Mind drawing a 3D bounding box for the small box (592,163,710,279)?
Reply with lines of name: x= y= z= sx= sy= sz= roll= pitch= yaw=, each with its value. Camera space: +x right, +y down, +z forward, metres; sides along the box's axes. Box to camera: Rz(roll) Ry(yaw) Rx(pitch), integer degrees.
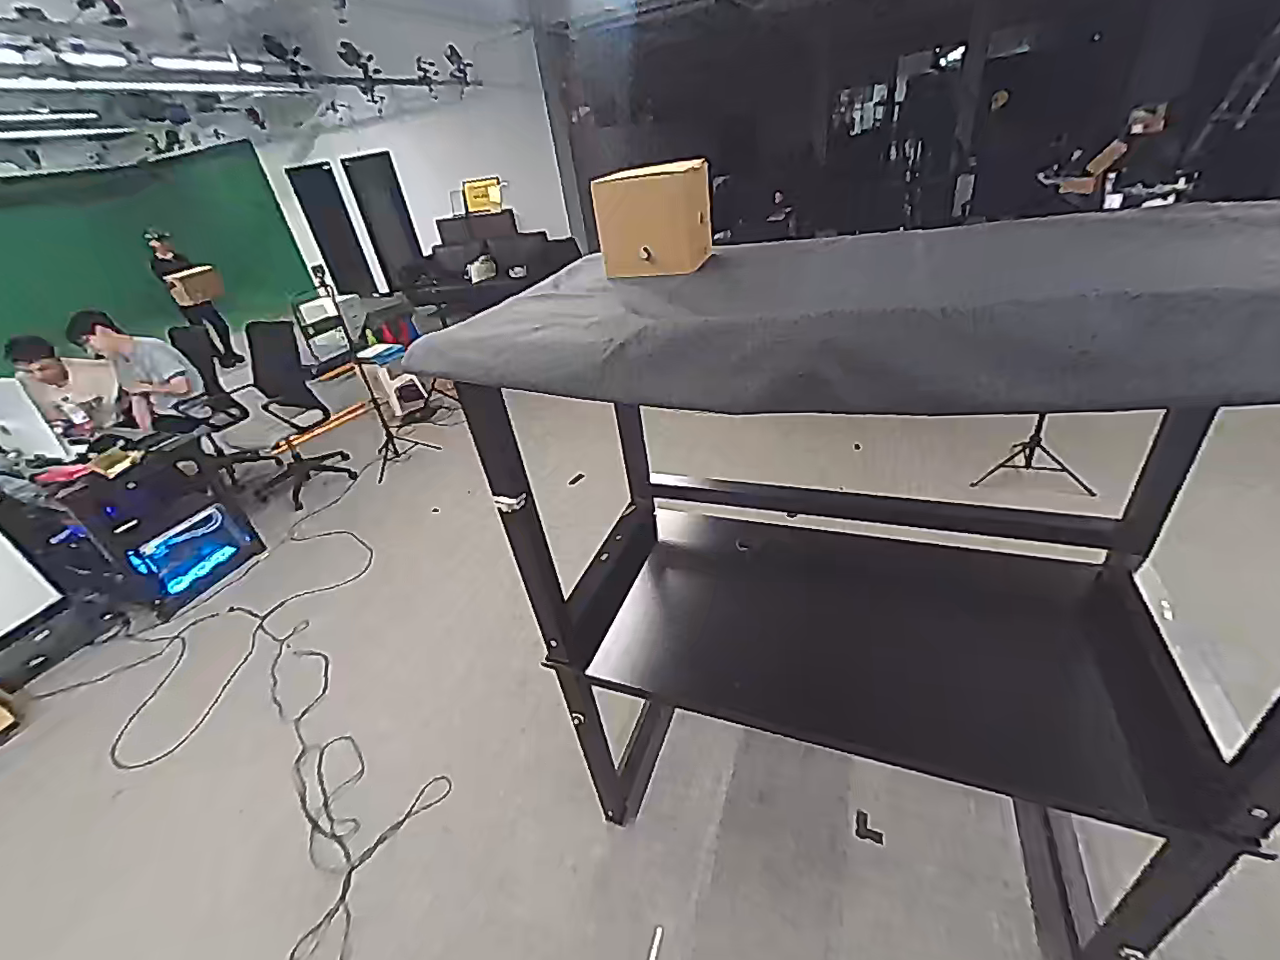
small box: x=0.031 y=-0.487 z=1.024 sx=0.179 sy=0.176 sz=0.168 roll=5 pitch=35 yaw=20
